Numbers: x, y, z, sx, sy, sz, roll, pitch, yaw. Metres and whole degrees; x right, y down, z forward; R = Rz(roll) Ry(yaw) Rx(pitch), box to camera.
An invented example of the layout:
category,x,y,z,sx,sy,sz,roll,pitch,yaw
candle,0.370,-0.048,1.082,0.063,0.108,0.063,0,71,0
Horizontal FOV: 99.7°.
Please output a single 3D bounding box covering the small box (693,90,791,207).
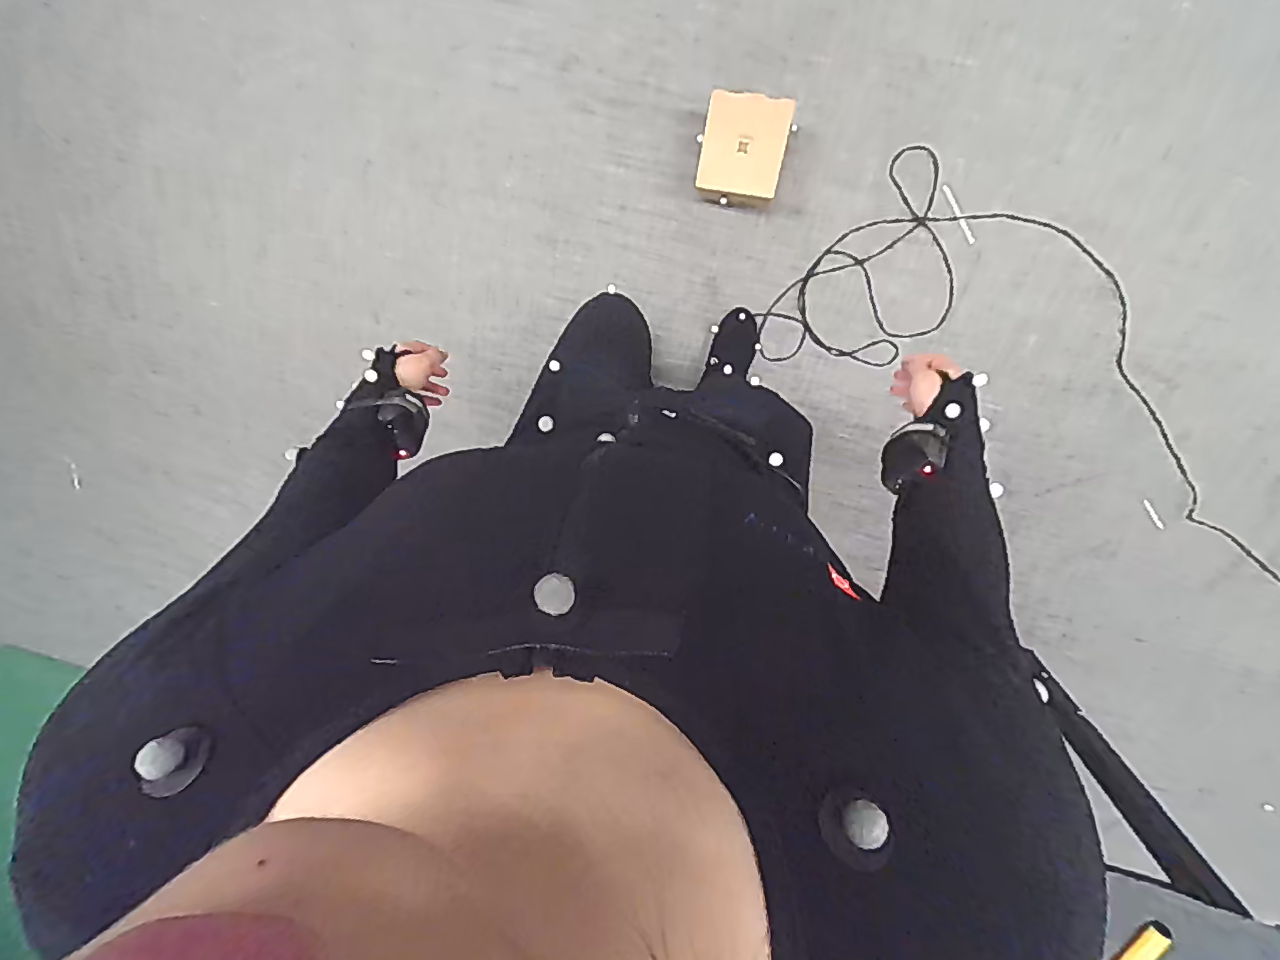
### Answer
category,x,y,z,sx,sy,sz,roll,pitch,yaw
small box,0.218,-0.700,1.161,0.168,0.176,0.179,12,110,6
